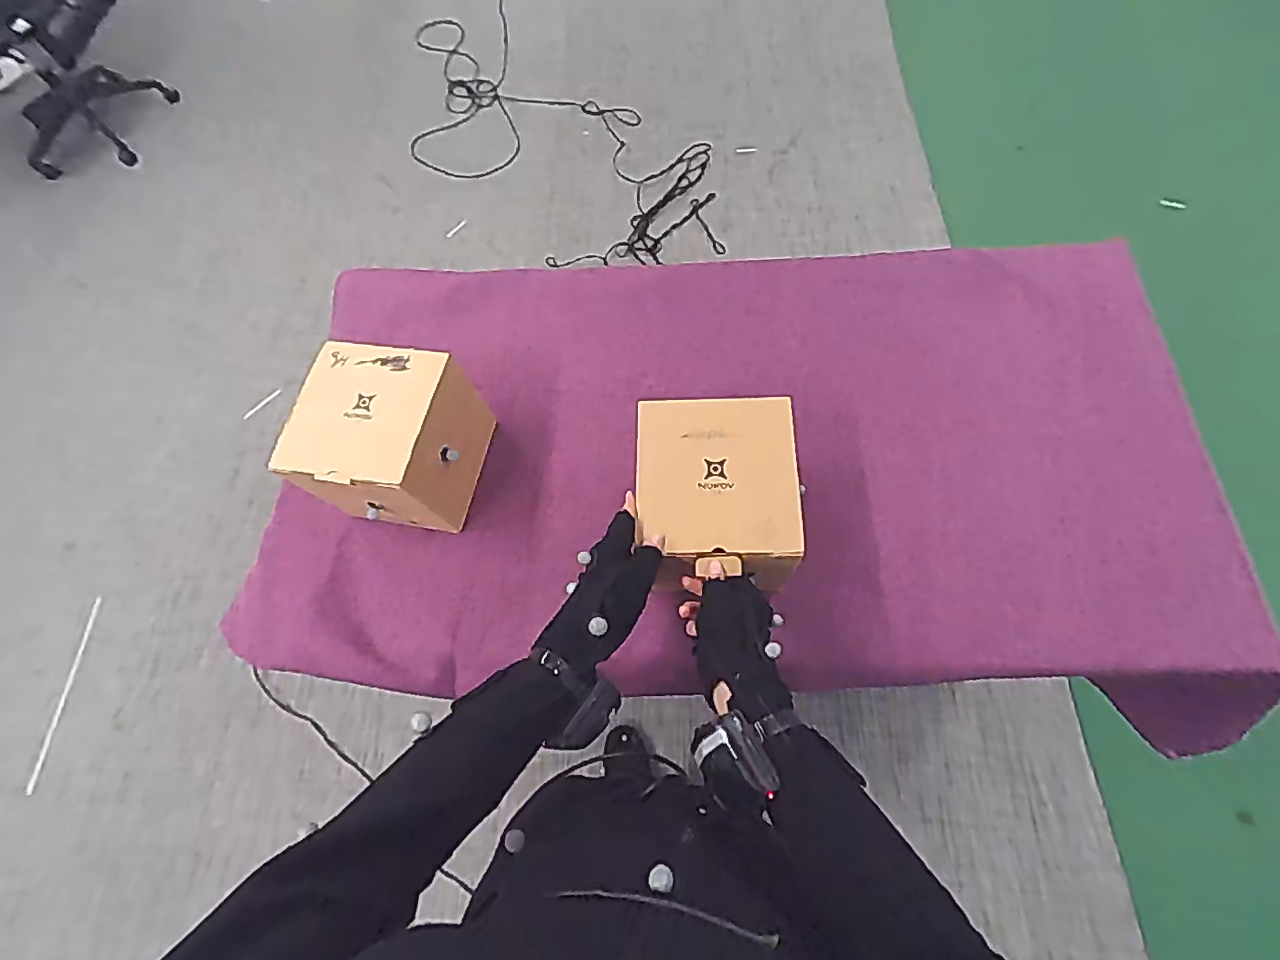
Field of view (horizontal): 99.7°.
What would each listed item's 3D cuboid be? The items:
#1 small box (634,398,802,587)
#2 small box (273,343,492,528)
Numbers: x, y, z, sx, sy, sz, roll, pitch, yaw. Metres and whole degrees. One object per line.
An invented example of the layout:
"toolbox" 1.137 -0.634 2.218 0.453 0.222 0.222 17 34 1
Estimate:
"small box" 0.085 0.024 0.625 0.168 0.176 0.179 0 67 5
"small box" -0.309 -0.048 0.693 0.168 0.176 0.179 8 69 8
